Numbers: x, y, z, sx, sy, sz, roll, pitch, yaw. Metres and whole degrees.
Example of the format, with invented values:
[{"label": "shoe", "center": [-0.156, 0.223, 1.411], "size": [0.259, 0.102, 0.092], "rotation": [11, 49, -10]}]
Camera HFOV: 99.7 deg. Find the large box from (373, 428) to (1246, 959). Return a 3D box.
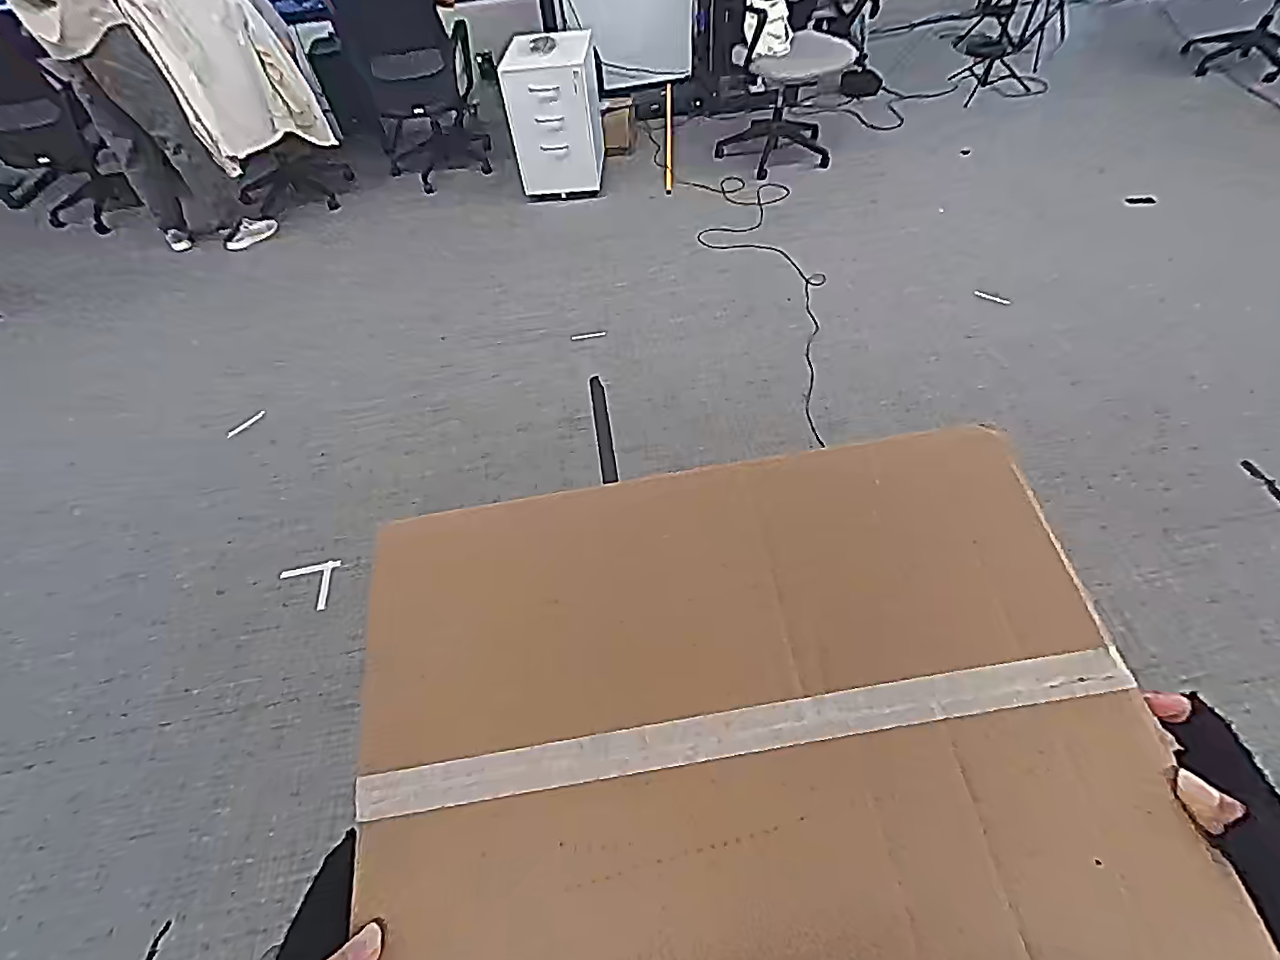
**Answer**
[{"label": "large box", "center": [0.063, 0.199, 0.431], "size": [0.408, 0.320, 0.320], "rotation": [-10, 64, 0]}]
